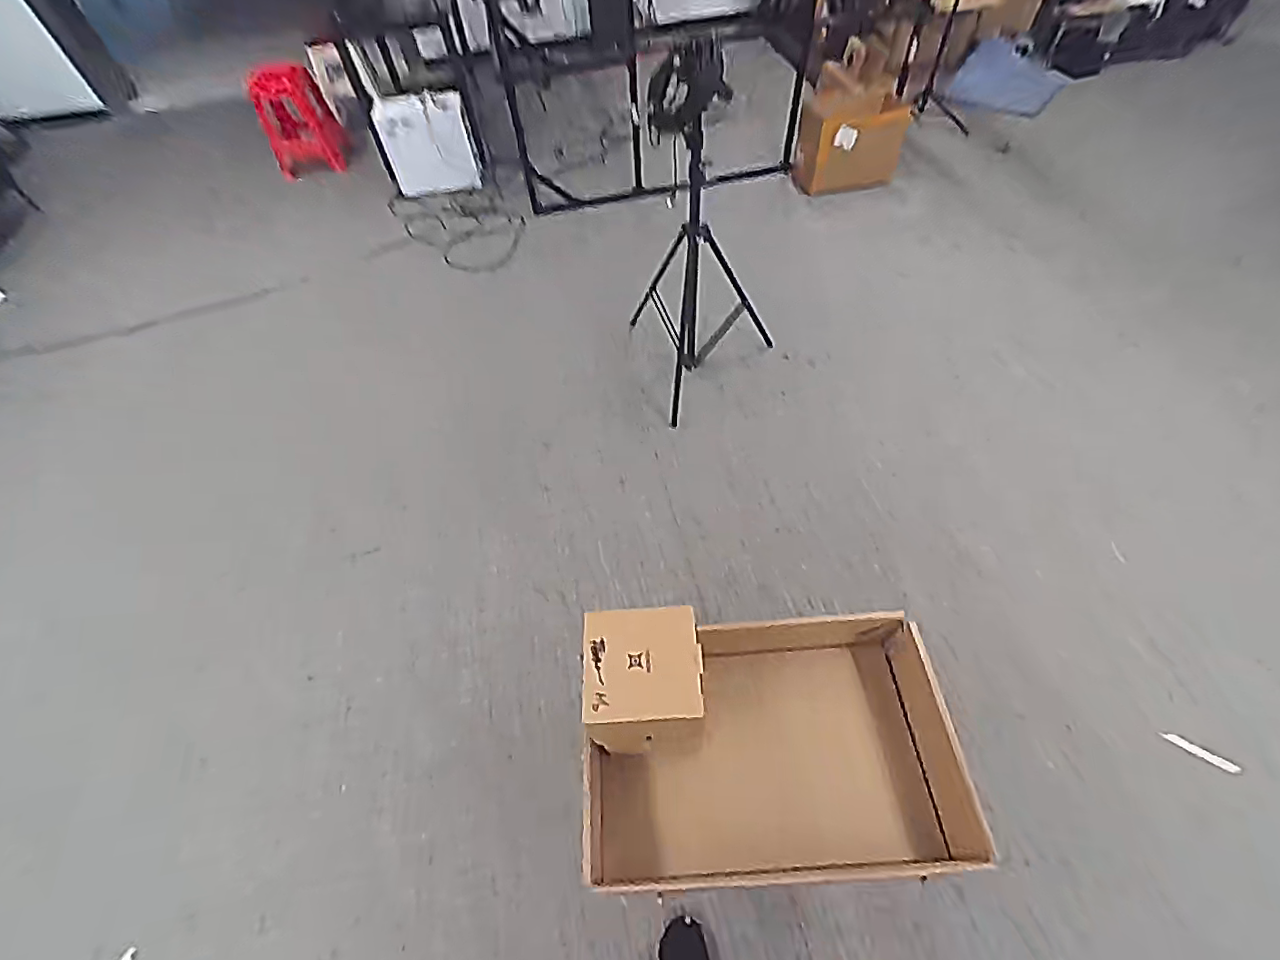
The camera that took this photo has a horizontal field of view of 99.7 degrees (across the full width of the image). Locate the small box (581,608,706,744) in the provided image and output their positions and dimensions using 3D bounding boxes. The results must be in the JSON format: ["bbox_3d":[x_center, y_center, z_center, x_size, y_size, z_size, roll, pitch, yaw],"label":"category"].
[{"bbox_3d":[0.006,0.313,0.855,0.179,0.176,0.168,-4,54,2],"label":"small box"}]
